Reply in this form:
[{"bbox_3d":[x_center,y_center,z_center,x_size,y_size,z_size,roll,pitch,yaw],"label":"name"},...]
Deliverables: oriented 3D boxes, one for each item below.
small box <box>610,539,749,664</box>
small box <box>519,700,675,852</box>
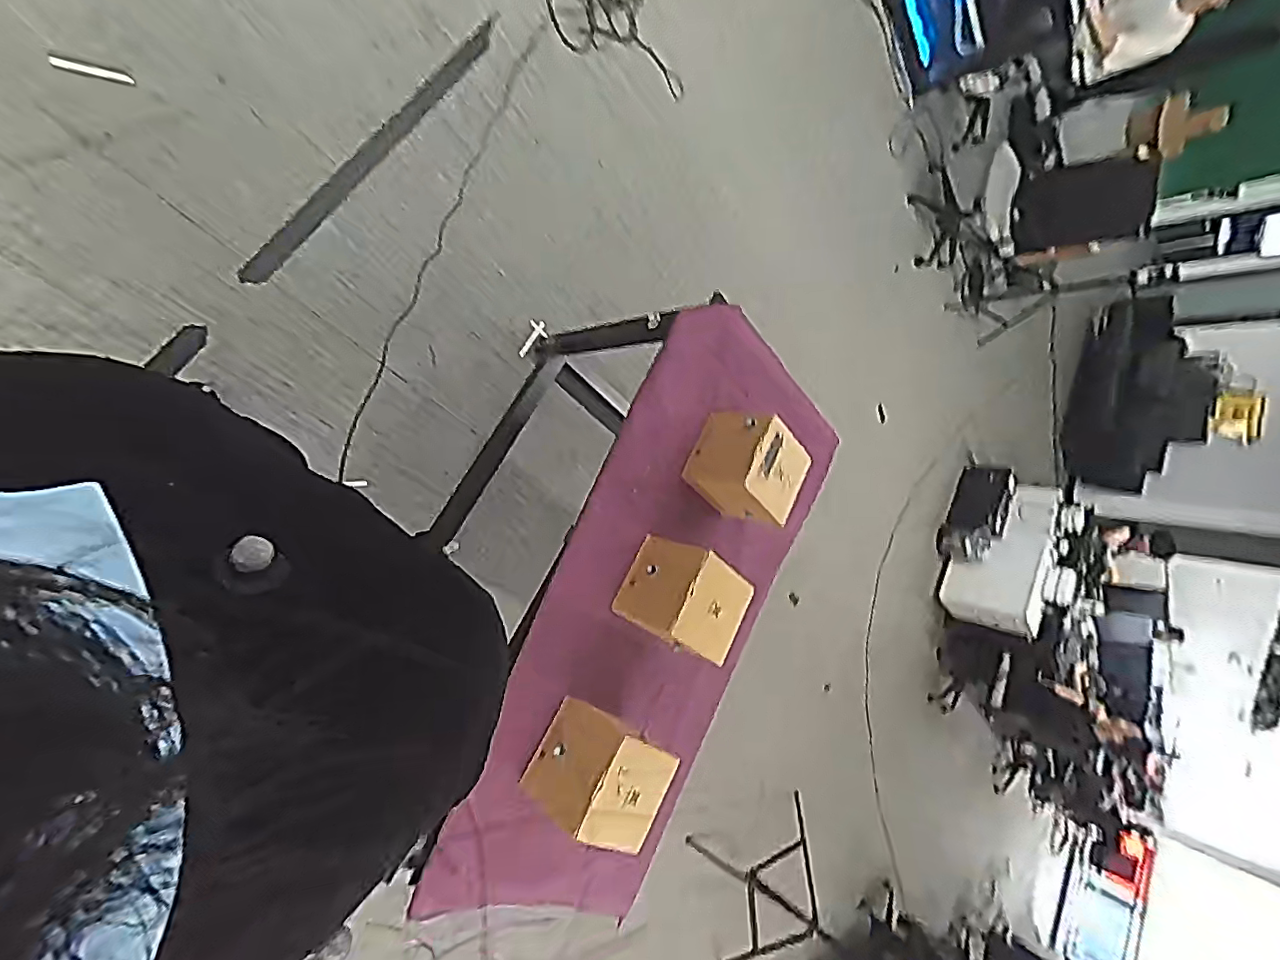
[{"bbox_3d":[0.077,0.231,1.062,0.179,0.176,0.168,41,69,-37],"label":"small box"},{"bbox_3d":[-0.076,0.517,0.960,0.179,0.176,0.168,44,66,-37],"label":"small box"}]
